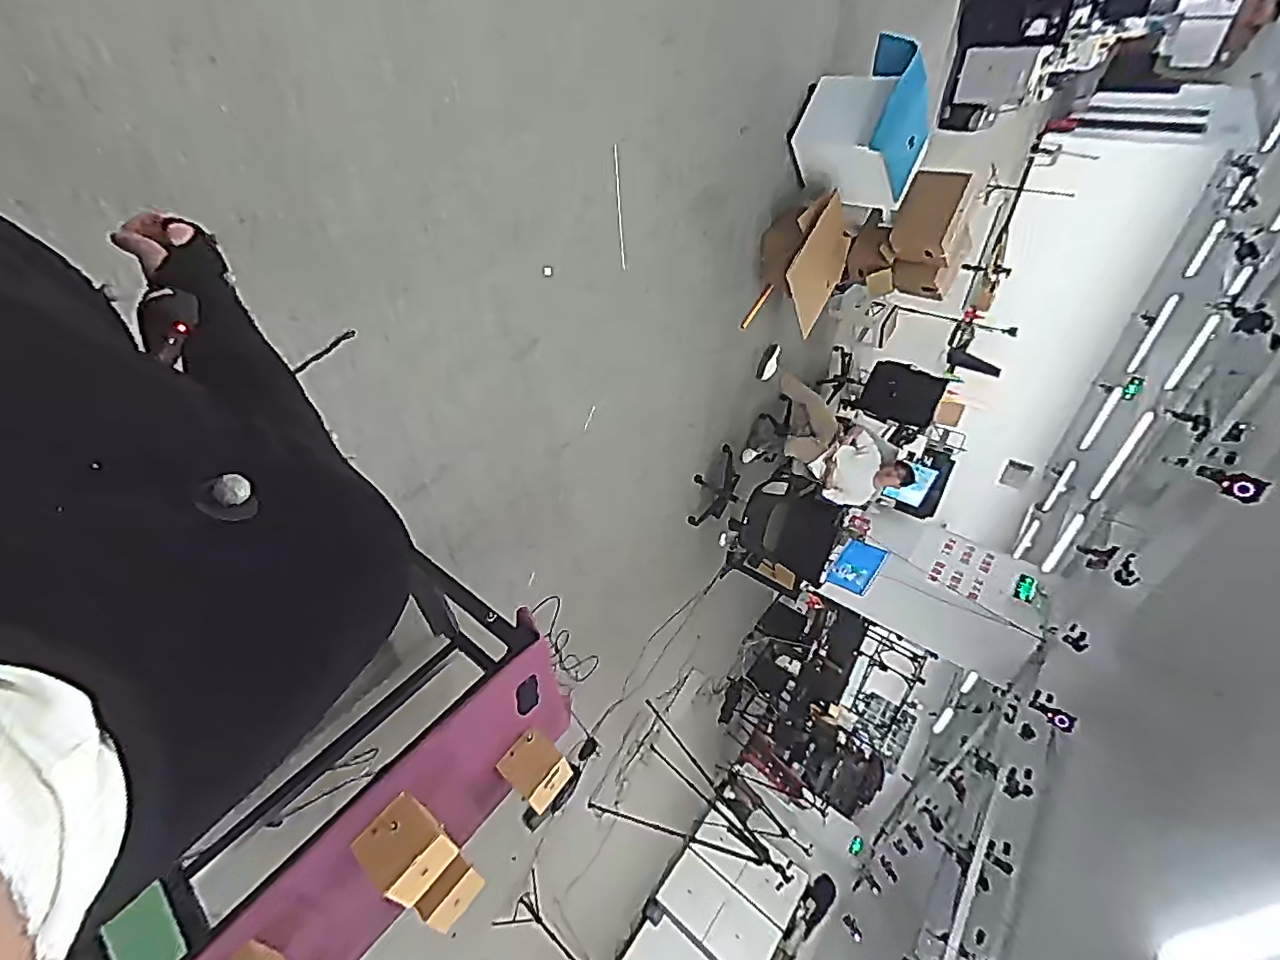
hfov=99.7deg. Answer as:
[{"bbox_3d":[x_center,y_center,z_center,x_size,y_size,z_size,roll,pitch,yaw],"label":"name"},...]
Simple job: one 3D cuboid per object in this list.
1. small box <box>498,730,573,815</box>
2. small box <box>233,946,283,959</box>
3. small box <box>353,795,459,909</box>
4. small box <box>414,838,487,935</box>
[{"bbox_3d":[-0.355,0.982,1.831,0.168,0.176,0.179,-43,145,-31],"label":"small box"},{"bbox_3d":[-0.860,1.175,1.180,0.168,0.176,0.179,-40,143,-37],"label":"small box"},{"bbox_3d":[-0.613,0.974,1.424,0.168,0.176,0.179,-42,144,-33],"label":"small box"},{"bbox_3d":[-0.597,1.213,1.632,0.168,0.176,0.179,-42,143,-35],"label":"small box"}]
